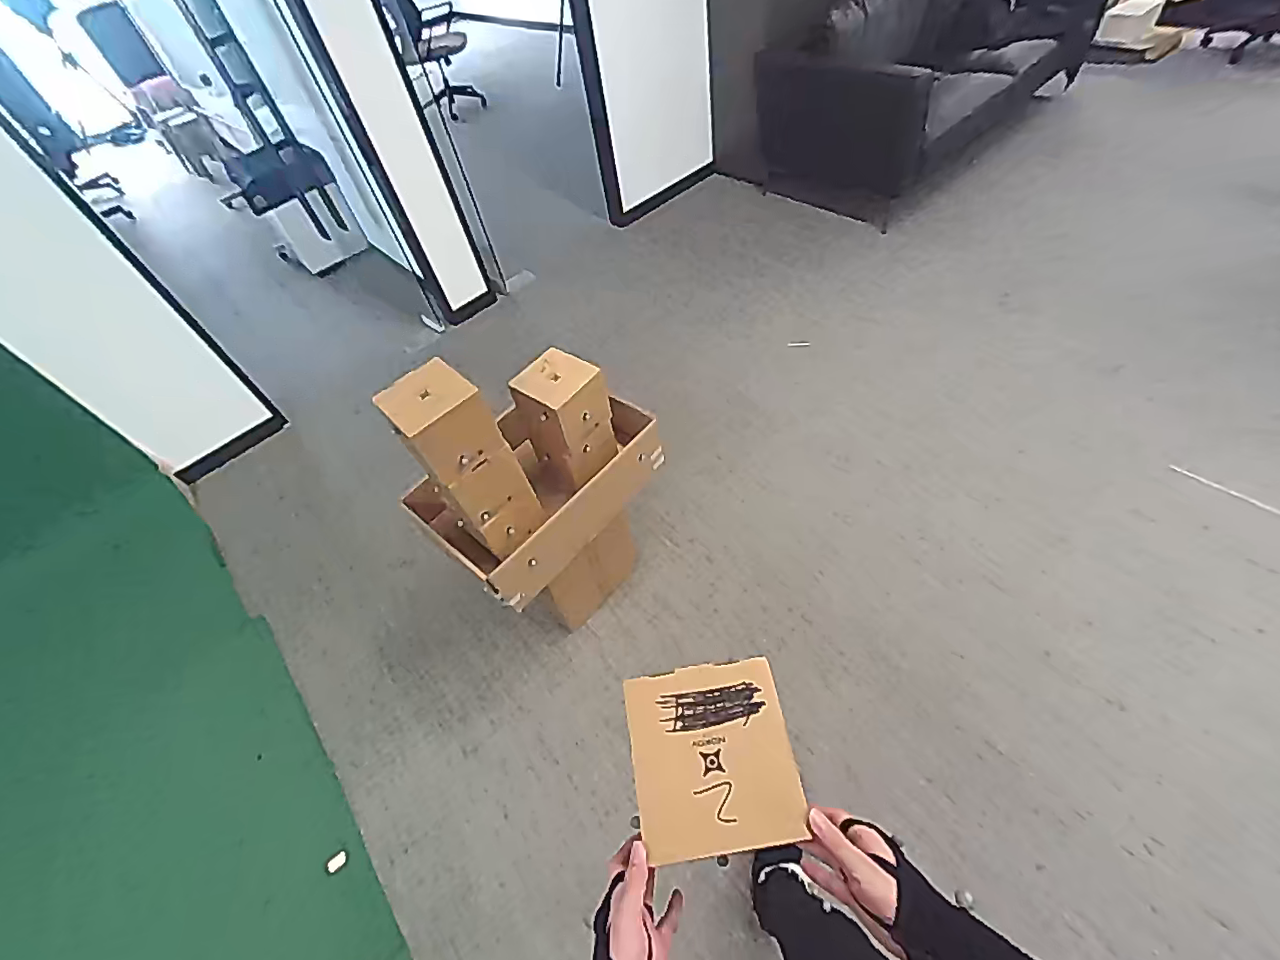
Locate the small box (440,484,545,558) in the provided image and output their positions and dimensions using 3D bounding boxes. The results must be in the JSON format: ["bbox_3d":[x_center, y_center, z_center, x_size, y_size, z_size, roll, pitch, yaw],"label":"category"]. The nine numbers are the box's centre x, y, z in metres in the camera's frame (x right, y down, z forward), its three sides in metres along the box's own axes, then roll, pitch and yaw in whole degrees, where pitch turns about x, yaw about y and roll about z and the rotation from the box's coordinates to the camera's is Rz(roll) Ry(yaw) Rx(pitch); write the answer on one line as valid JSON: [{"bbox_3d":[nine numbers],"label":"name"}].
[{"bbox_3d":[-0.372,0.076,1.397,0.179,0.176,0.168,31,63,30],"label":"small box"}]

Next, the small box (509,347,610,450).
[{"bbox_3d":[-0.196,-0.202,1.372,0.179,0.176,0.168,29,61,28],"label":"small box"}]

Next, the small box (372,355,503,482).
[{"bbox_3d":[-0.422,-0.127,1.144,0.168,0.176,0.179,-40,56,-20],"label":"small box"}]

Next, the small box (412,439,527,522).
[{"bbox_3d":[-0.394,-0.026,1.270,0.168,0.176,0.179,-41,55,-21],"label":"small box"}]
